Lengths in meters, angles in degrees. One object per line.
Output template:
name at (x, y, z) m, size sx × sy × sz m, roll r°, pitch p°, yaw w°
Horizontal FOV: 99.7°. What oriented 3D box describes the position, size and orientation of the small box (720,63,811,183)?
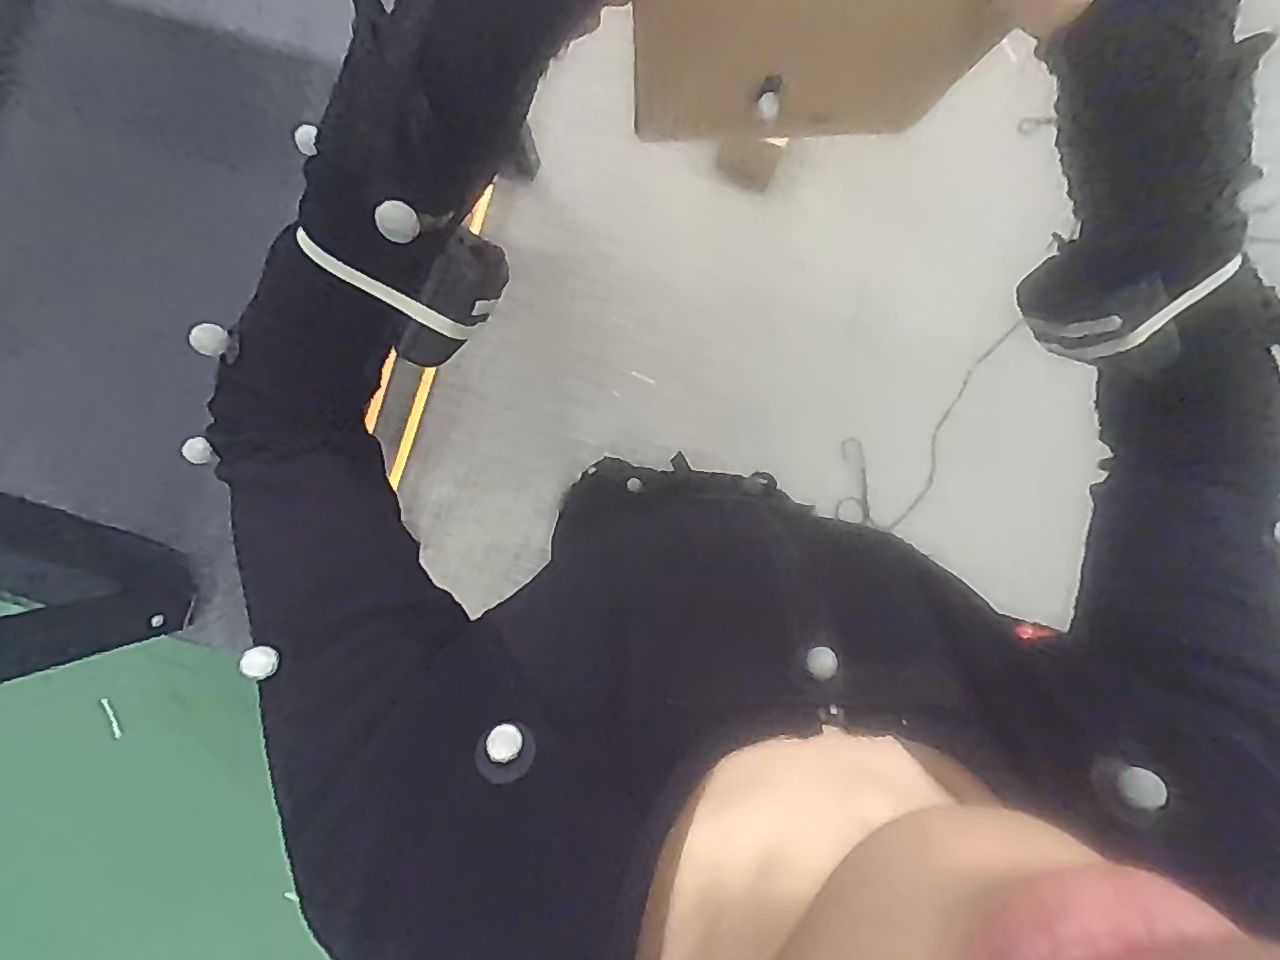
small box at (0.323, -0.937, 1.434) m, size 0.168 × 0.176 × 0.179 m, roll 23°, pitch 89°, yaw 1°
